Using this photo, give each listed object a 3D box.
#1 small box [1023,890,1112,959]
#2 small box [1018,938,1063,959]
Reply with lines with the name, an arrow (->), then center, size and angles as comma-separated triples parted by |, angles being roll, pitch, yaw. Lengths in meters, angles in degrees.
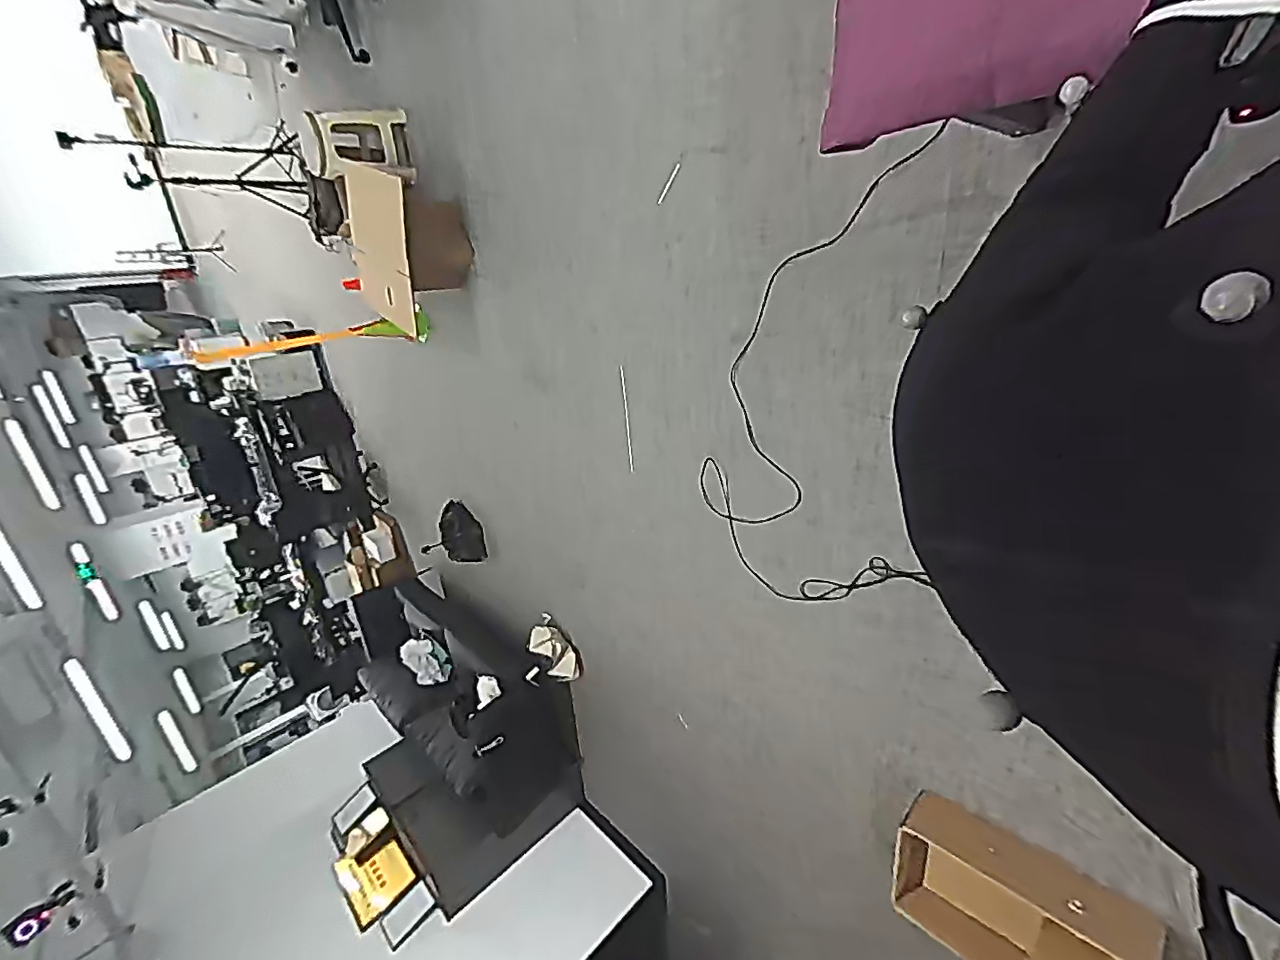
small box -> 1.183, 1.314, 1.507 | 0.168, 0.176, 0.179 | 17, 122, 43
small box -> 1.066, 1.370, 1.408 | 0.168, 0.176, 0.179 | 16, 121, 44
